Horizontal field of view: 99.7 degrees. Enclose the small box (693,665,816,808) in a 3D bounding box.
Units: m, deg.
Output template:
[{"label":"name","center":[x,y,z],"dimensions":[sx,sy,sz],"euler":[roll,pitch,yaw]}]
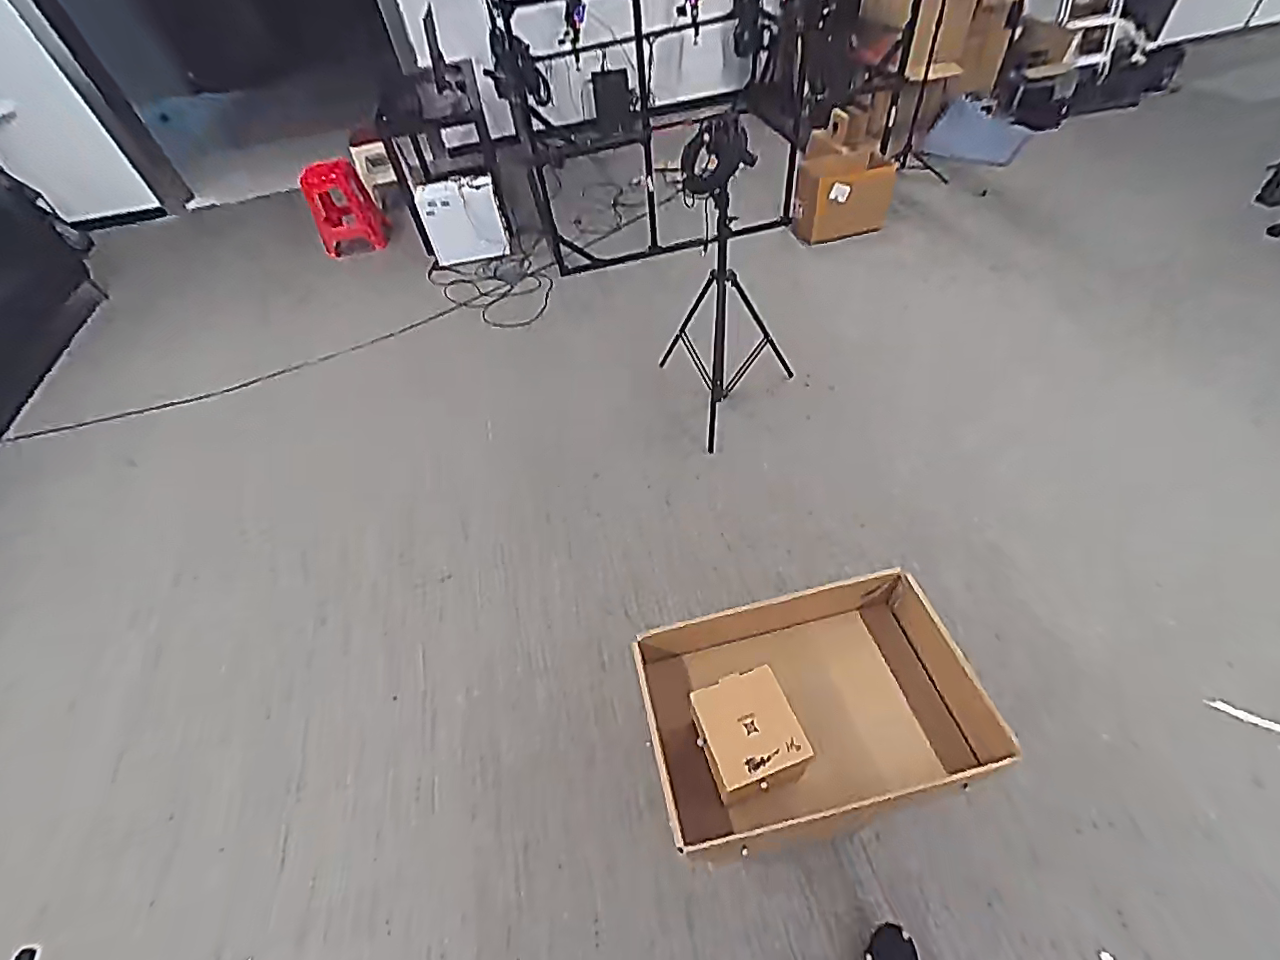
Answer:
[{"label":"small box","center":[0.208,0.490,1.030],"dimensions":[0.168,0.176,0.179],"euler":[-19,50,-7]}]
